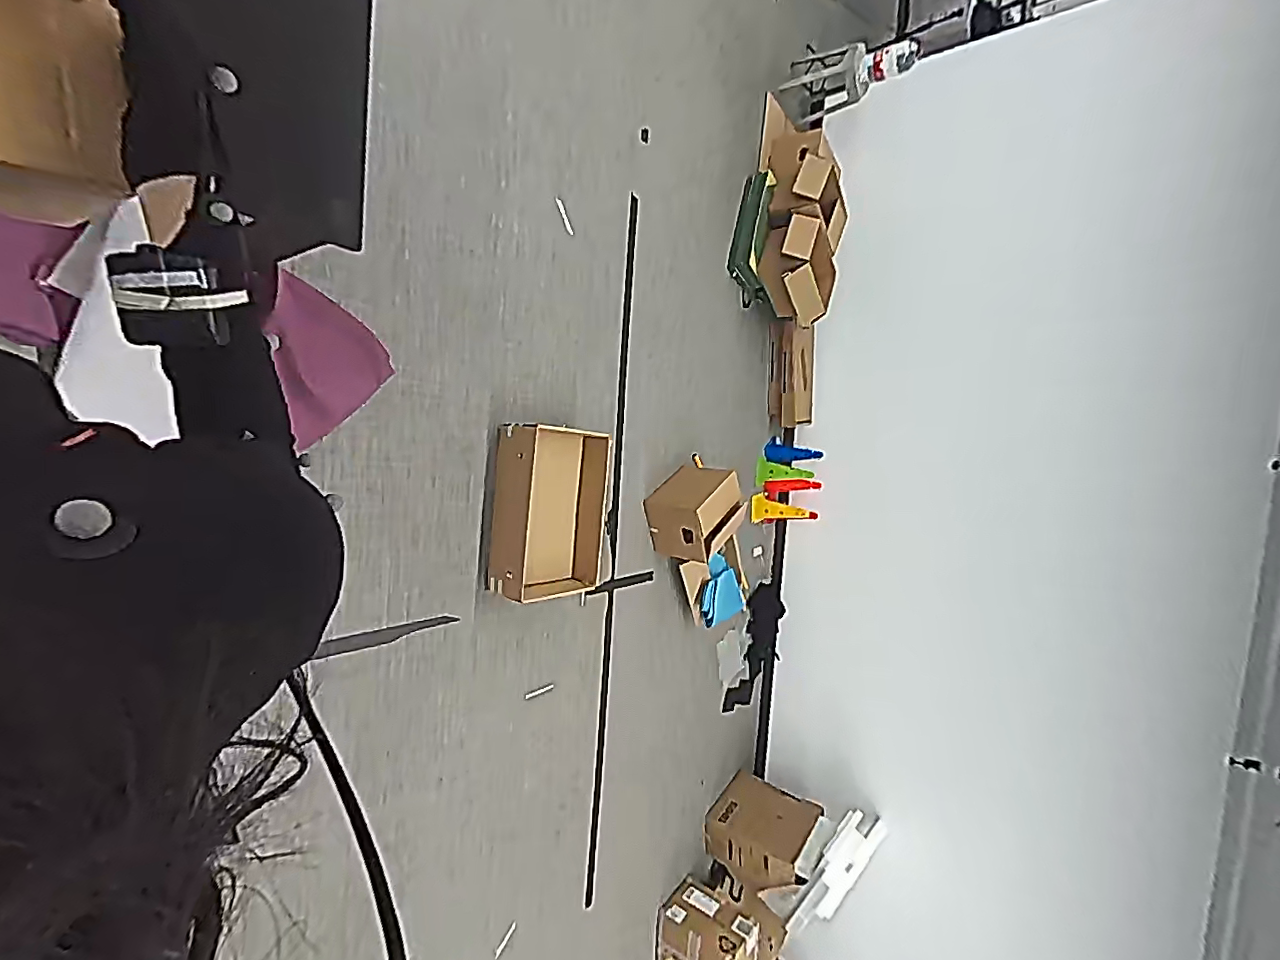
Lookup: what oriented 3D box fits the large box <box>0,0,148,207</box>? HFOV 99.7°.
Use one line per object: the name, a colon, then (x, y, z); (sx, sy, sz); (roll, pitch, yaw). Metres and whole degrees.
large box: (-0.586, -0.373, 0.288); (0.408, 0.320, 0.320); (-13, 112, -53)
